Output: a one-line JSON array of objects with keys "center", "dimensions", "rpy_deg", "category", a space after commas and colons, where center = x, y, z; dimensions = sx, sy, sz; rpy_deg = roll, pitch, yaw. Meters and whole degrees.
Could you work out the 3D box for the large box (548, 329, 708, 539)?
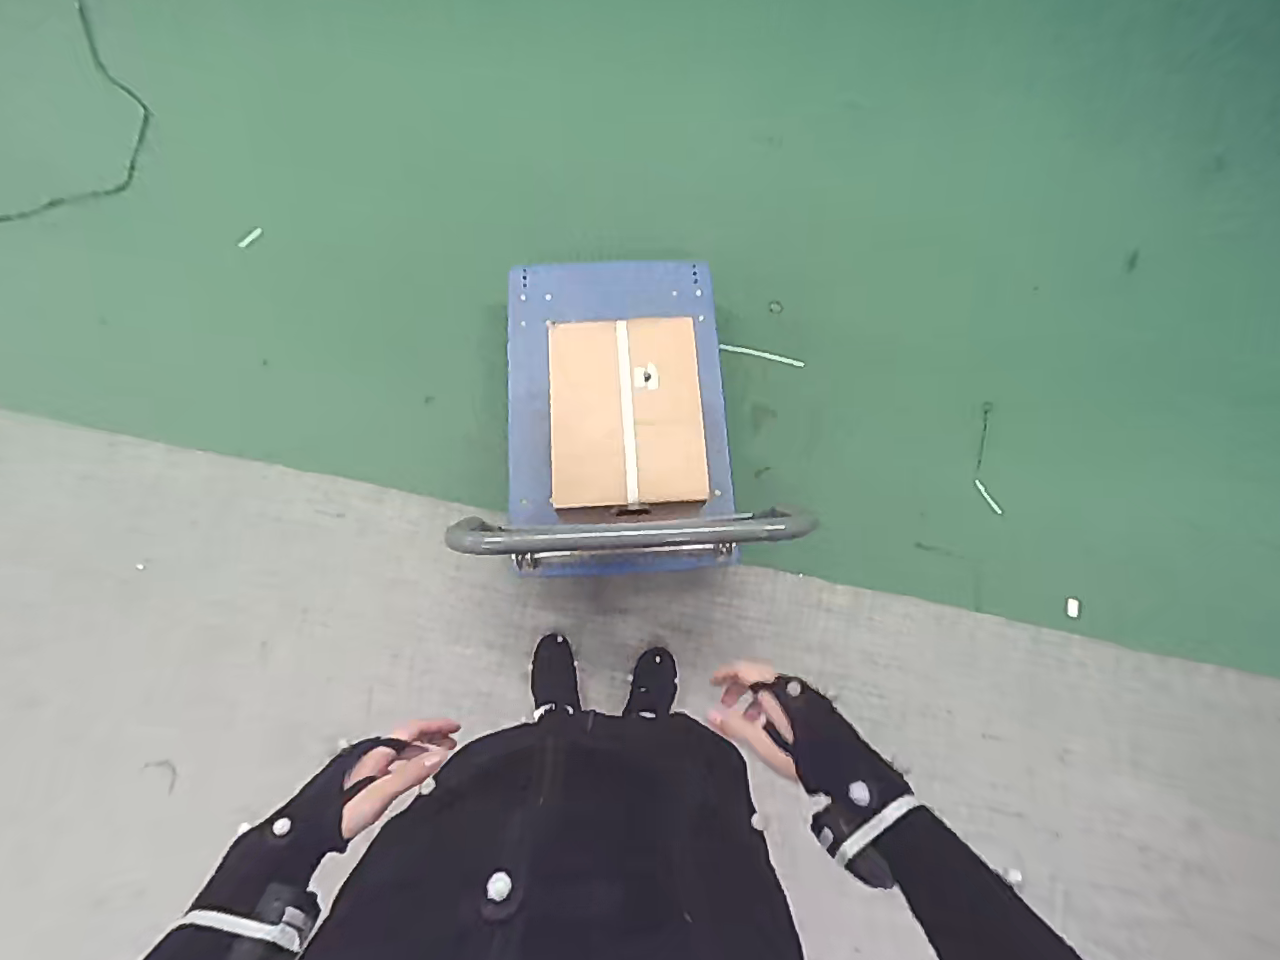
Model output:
[{"center": [-0.034, -0.090, 1.269], "dimensions": [0.320, 0.320, 0.408], "rpy_deg": [-3, 75, -3], "category": "large box"}]
